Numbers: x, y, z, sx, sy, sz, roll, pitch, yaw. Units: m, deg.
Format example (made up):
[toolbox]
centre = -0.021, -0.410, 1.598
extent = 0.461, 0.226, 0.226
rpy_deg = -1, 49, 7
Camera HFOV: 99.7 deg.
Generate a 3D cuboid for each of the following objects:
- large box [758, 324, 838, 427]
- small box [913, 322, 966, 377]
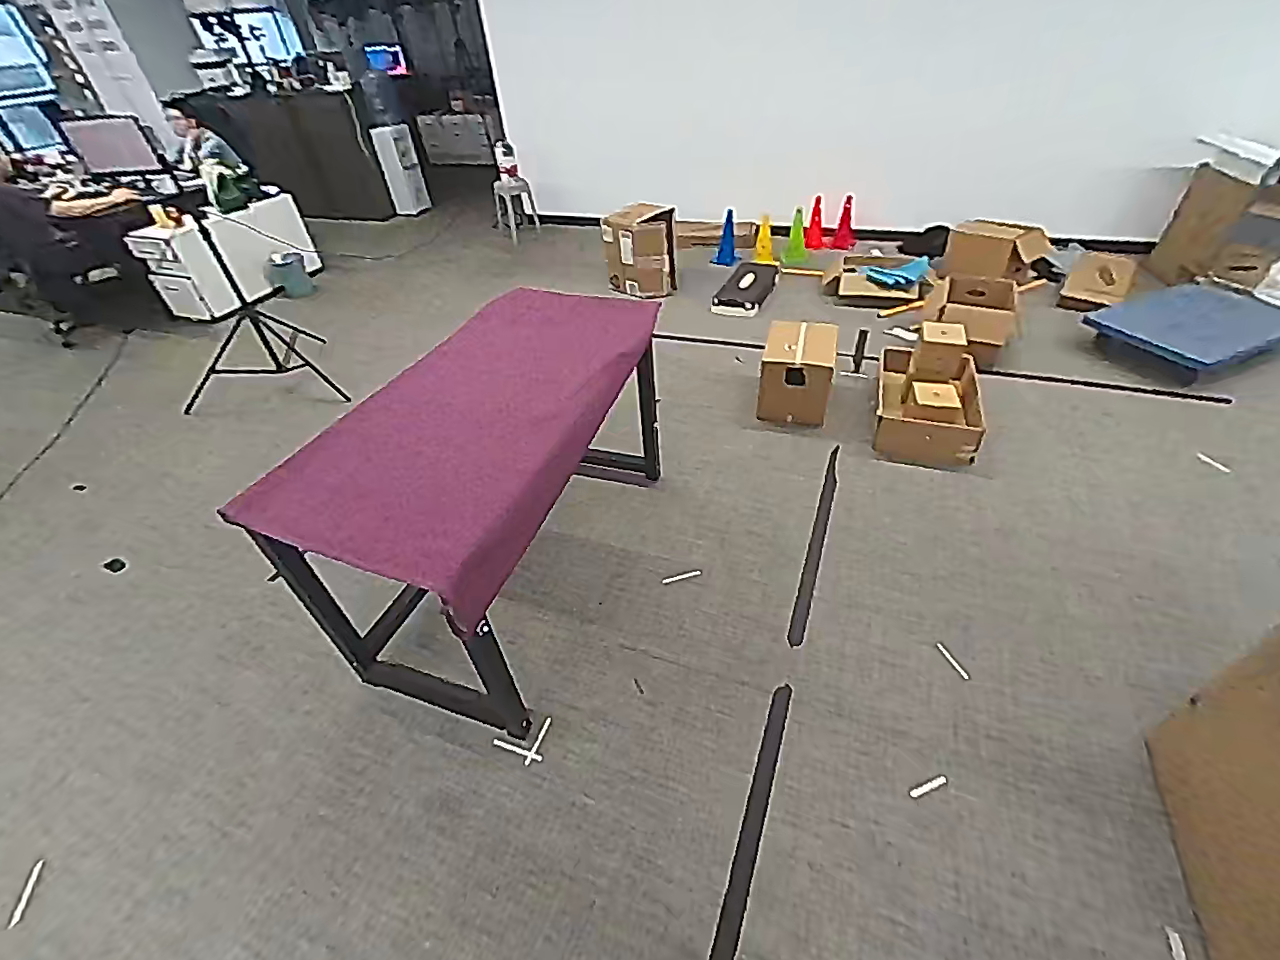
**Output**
[large box]
centre = 0.752, -0.503, 2.573
extent = 0.320, 0.320, 0.408
rpy_deg = 8, 44, 16
[small box]
centre = 1.310, -0.572, 2.373
extent = 0.168, 0.176, 0.179
rpy_deg = 11, 45, 16
